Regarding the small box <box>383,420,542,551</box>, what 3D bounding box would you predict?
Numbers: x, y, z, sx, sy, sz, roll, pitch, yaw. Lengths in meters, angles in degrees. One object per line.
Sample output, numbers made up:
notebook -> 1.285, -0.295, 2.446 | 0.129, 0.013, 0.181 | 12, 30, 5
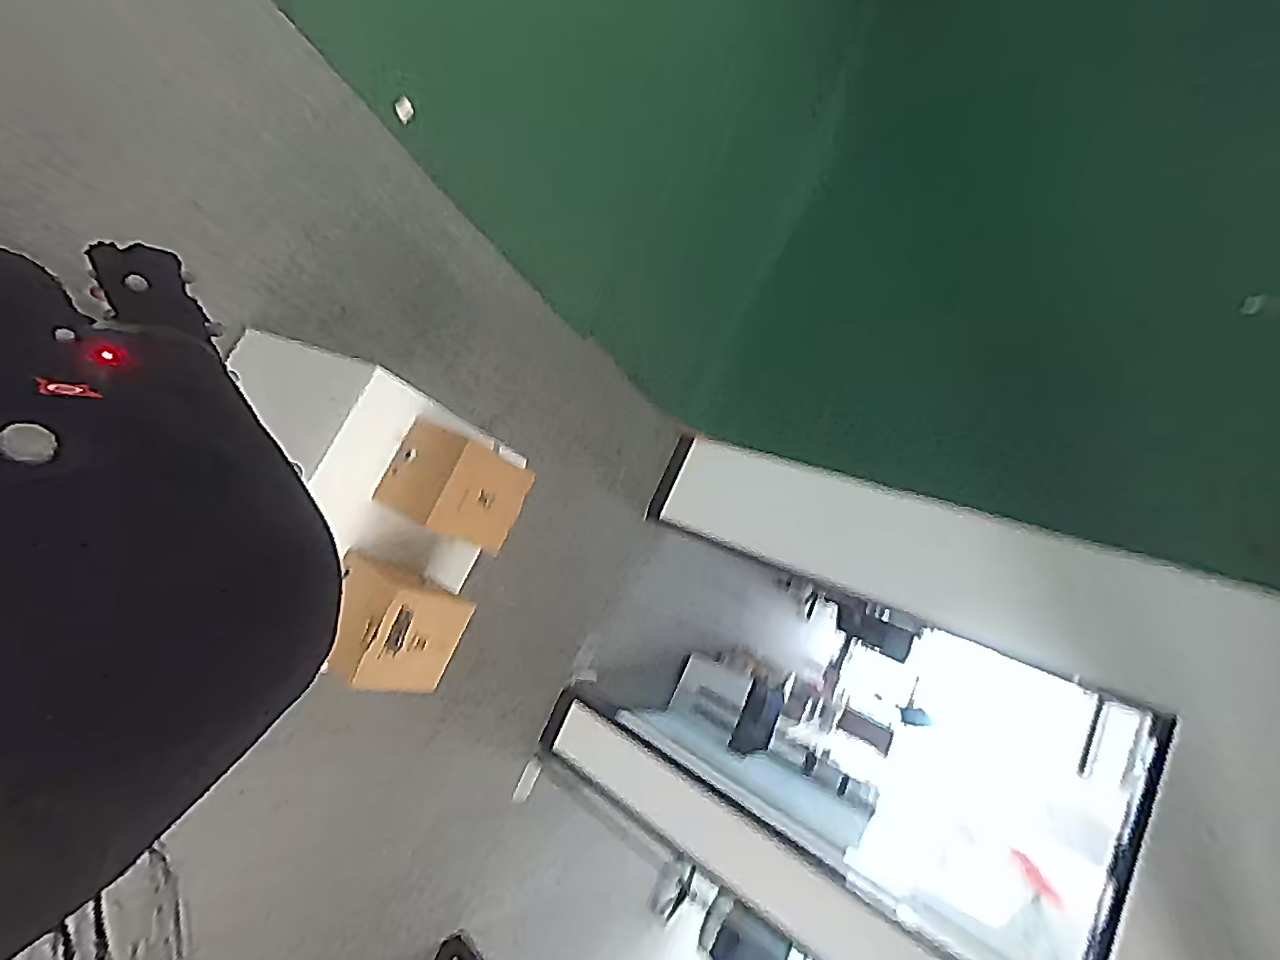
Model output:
small box -> -0.318, 0.007, 0.974 | 0.179, 0.176, 0.168 | 35, 77, -53

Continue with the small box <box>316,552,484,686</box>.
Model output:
small box -> -0.419, 0.240, 0.944 | 0.179, 0.176, 0.168 | 38, 75, -55
